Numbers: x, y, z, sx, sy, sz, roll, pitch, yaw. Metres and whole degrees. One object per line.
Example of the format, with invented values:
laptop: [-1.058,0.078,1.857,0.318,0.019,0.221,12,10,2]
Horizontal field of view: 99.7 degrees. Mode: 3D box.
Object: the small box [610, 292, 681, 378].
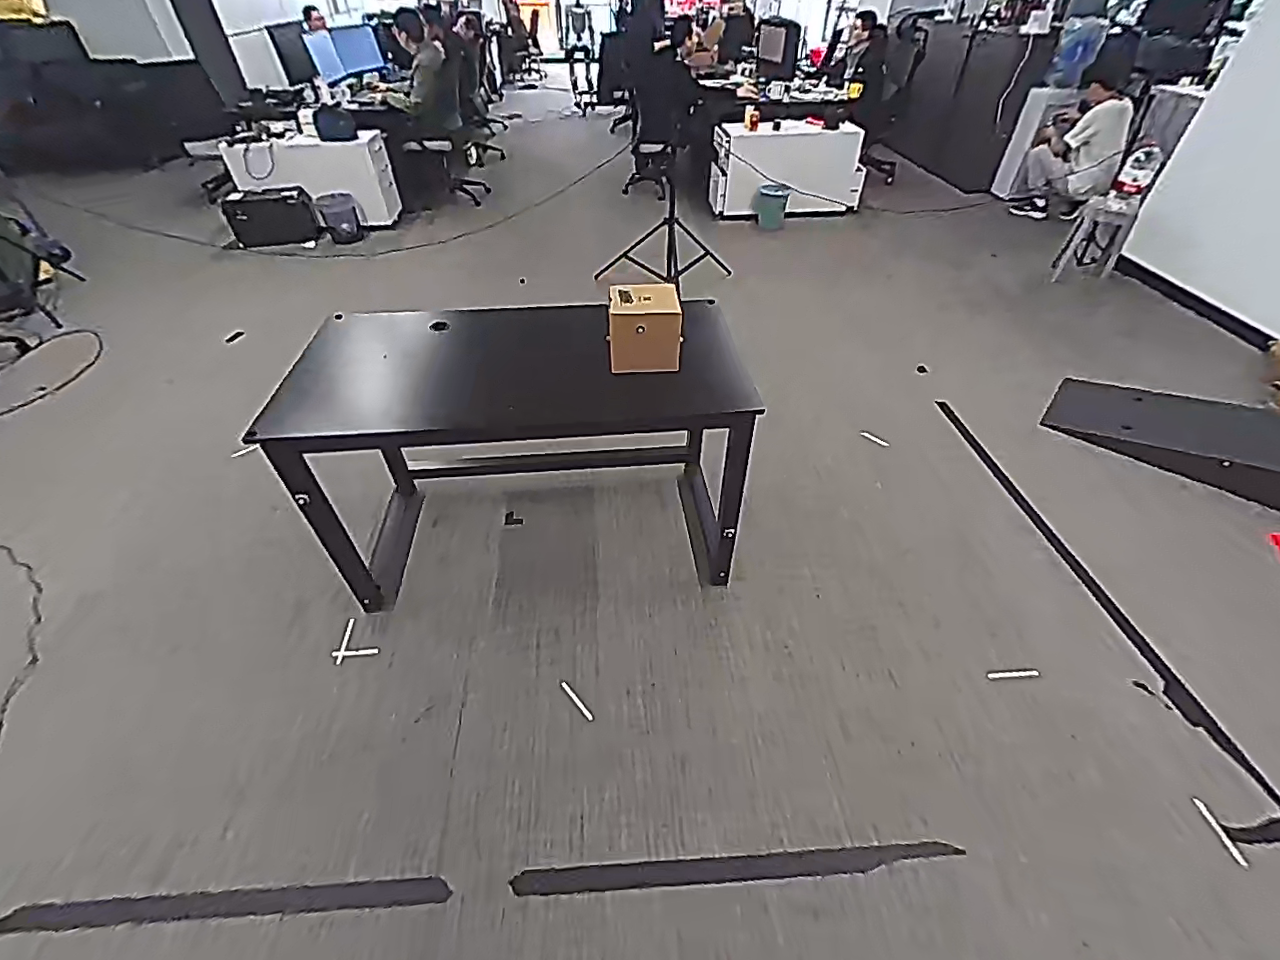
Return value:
small box: [0.013,-0.382,1.433,0.179,0.176,0.168,-2,43,-2]
